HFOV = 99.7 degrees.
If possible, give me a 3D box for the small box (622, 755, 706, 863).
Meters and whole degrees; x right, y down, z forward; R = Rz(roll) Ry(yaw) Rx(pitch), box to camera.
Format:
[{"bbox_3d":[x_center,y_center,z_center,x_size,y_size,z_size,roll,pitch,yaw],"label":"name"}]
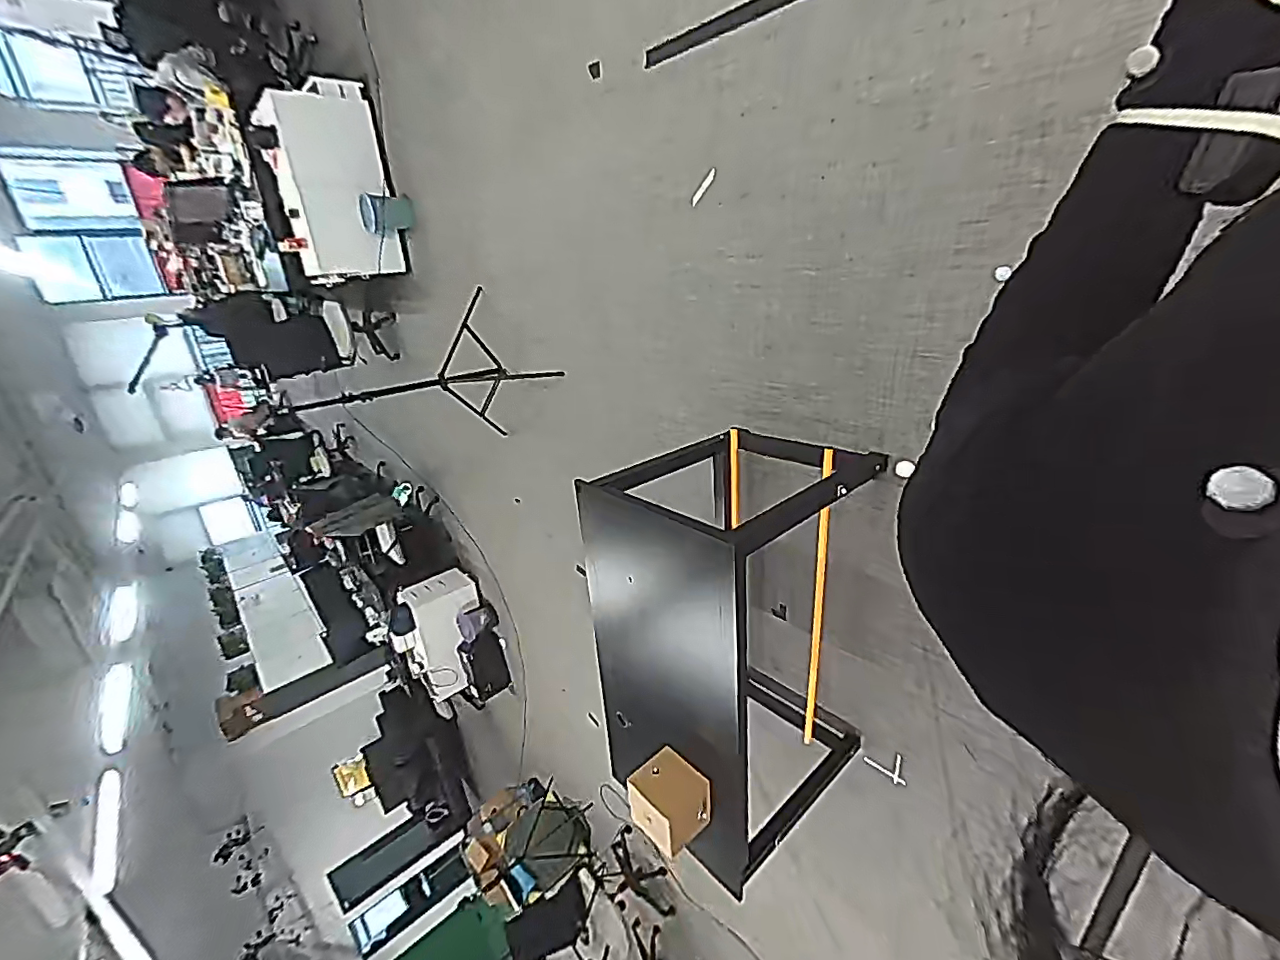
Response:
[{"bbox_3d":[0.070,0.932,1.556,0.179,0.176,0.168,19,123,45],"label":"small box"}]
